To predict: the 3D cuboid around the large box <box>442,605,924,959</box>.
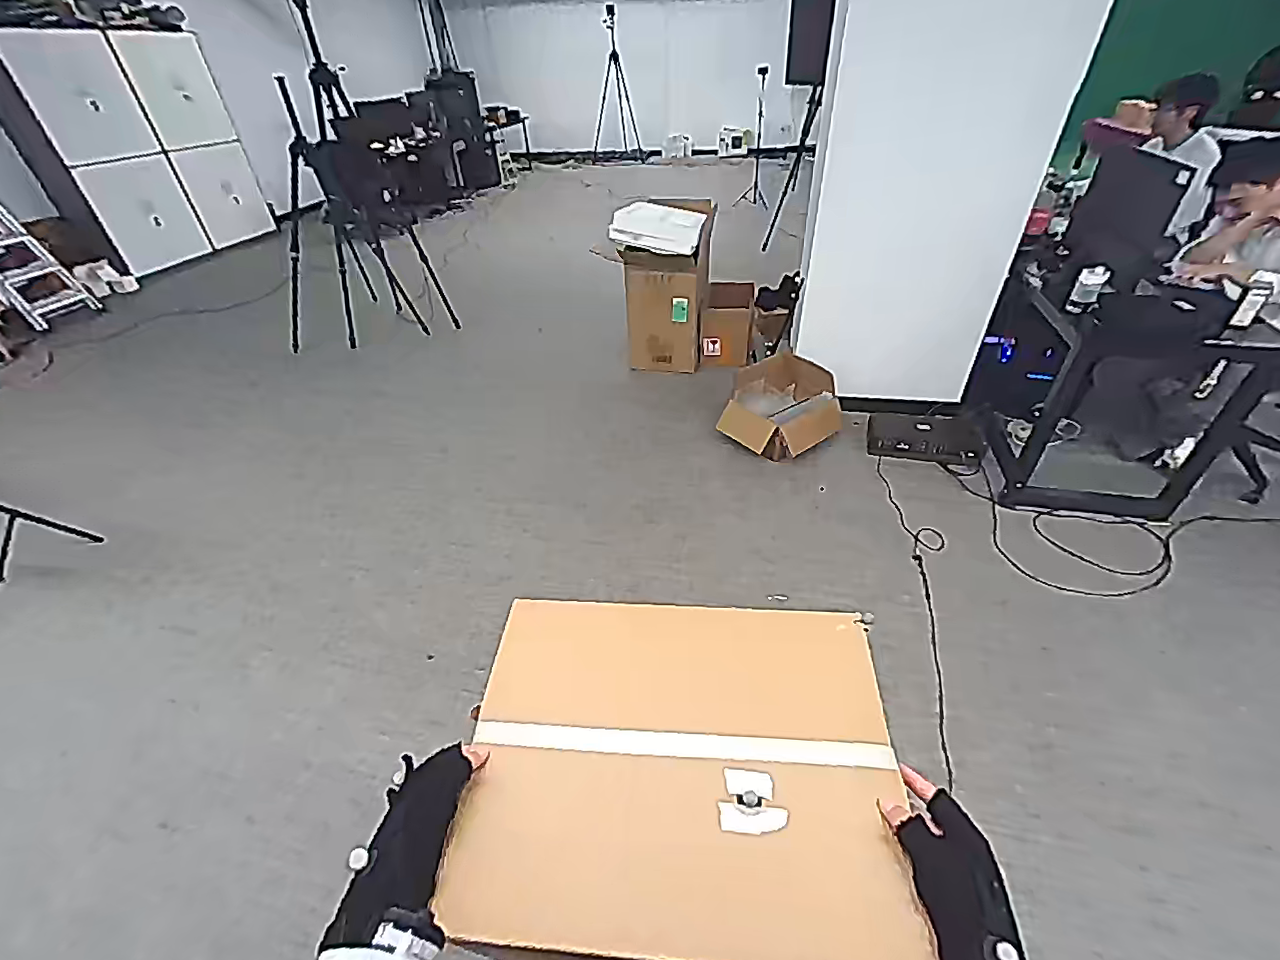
[{"bbox_3d":[0.044,0.371,0.647,0.408,0.320,0.320,2,45,5],"label":"large box"}]
